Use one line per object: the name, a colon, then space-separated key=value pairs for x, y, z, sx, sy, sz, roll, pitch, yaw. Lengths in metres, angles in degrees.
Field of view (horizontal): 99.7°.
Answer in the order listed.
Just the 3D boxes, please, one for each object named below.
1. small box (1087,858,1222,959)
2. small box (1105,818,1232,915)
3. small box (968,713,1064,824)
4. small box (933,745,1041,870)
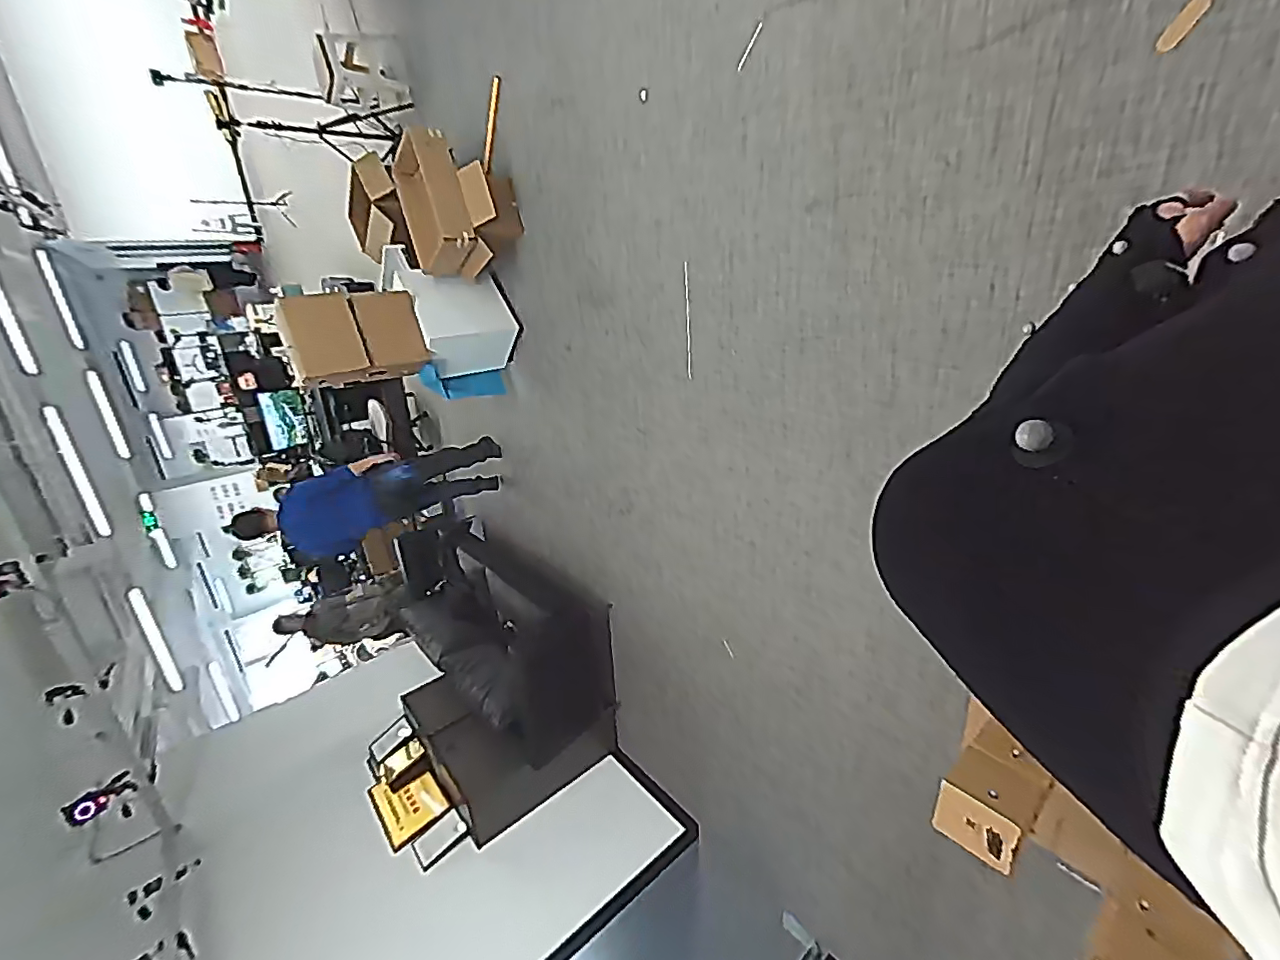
small box: x=1.224 y=1.052 z=1.289 sx=0.179 sy=0.176 sz=0.168 roll=30 pitch=128 yaw=42
small box: x=1.353 y=1.013 z=1.387 sx=0.179 sy=0.176 sz=0.168 roll=30 pitch=129 yaw=42
small box: x=1.000 y=0.762 z=1.456 sx=0.179 sy=0.176 sz=0.168 roll=20 pitch=120 yaw=45
small box: x=0.874 y=0.810 z=1.360 sx=0.179 sy=0.176 sz=0.168 roll=21 pitch=121 yaw=45
